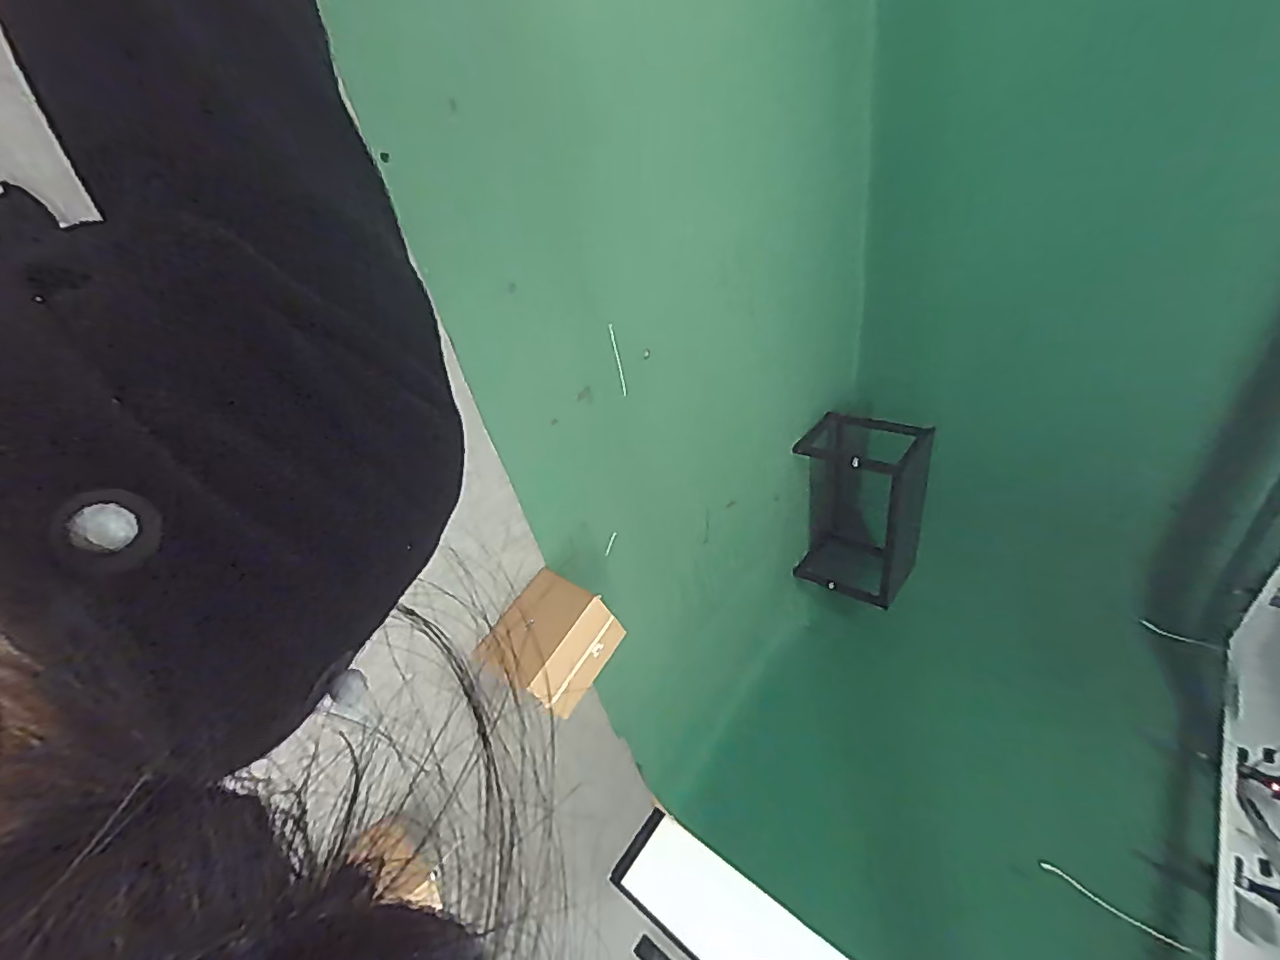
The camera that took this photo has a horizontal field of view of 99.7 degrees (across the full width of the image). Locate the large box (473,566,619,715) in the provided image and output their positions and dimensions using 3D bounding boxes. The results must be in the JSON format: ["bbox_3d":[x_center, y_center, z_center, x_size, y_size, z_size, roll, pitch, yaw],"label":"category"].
[{"bbox_3d":[-0.358,0.614,2.103,0.408,0.320,0.320,-53,140,-24],"label":"large box"}]
